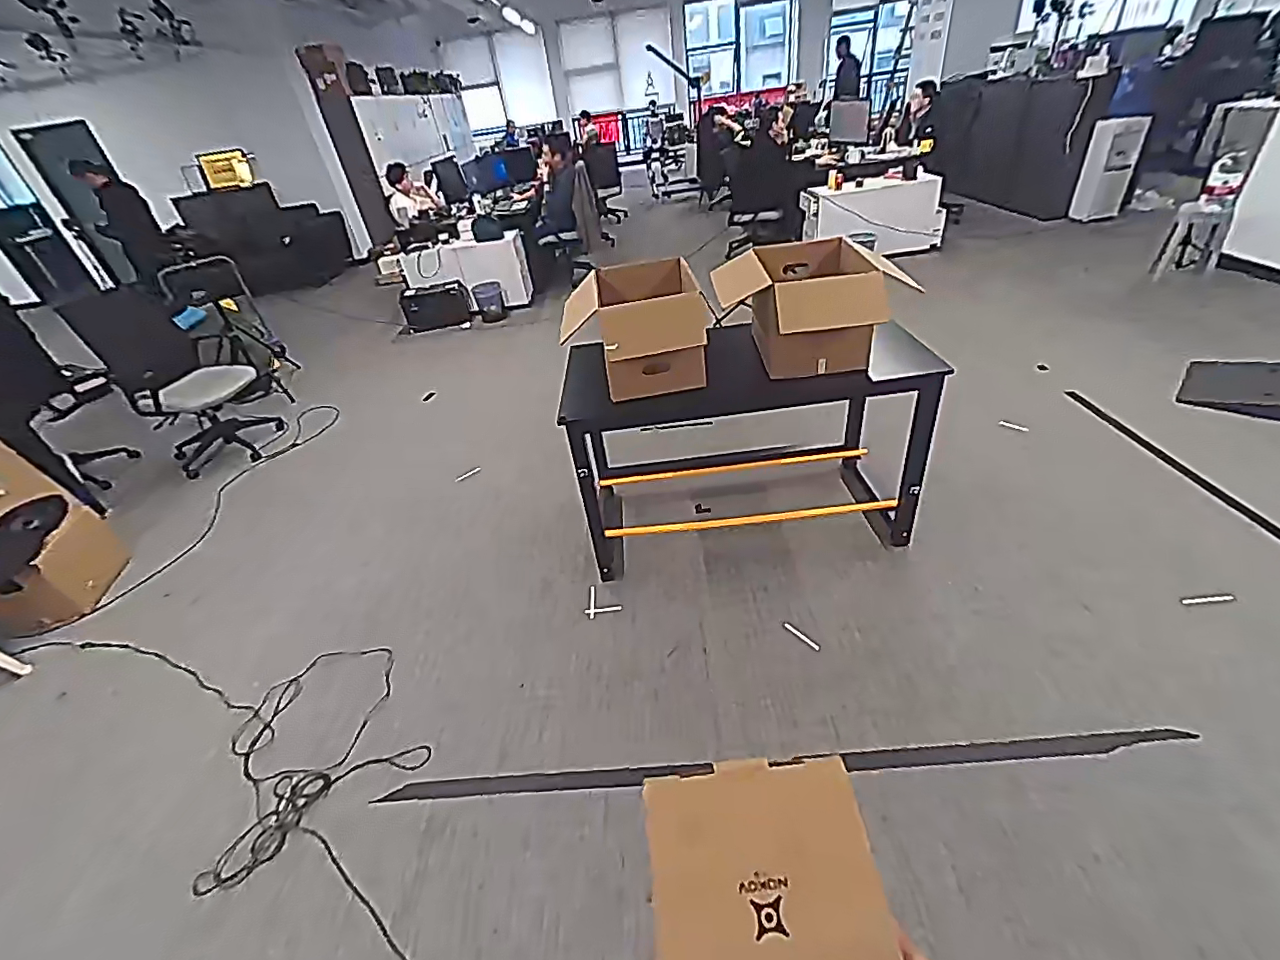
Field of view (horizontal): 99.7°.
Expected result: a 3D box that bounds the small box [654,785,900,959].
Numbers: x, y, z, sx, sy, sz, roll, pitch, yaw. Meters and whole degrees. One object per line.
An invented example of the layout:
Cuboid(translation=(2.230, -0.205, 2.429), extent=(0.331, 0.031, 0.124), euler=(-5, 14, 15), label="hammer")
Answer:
Cuboid(translation=(0.103, 0.376, 0.448), extent=(0.168, 0.176, 0.179), euler=(-7, 50, 0), label="small box")
